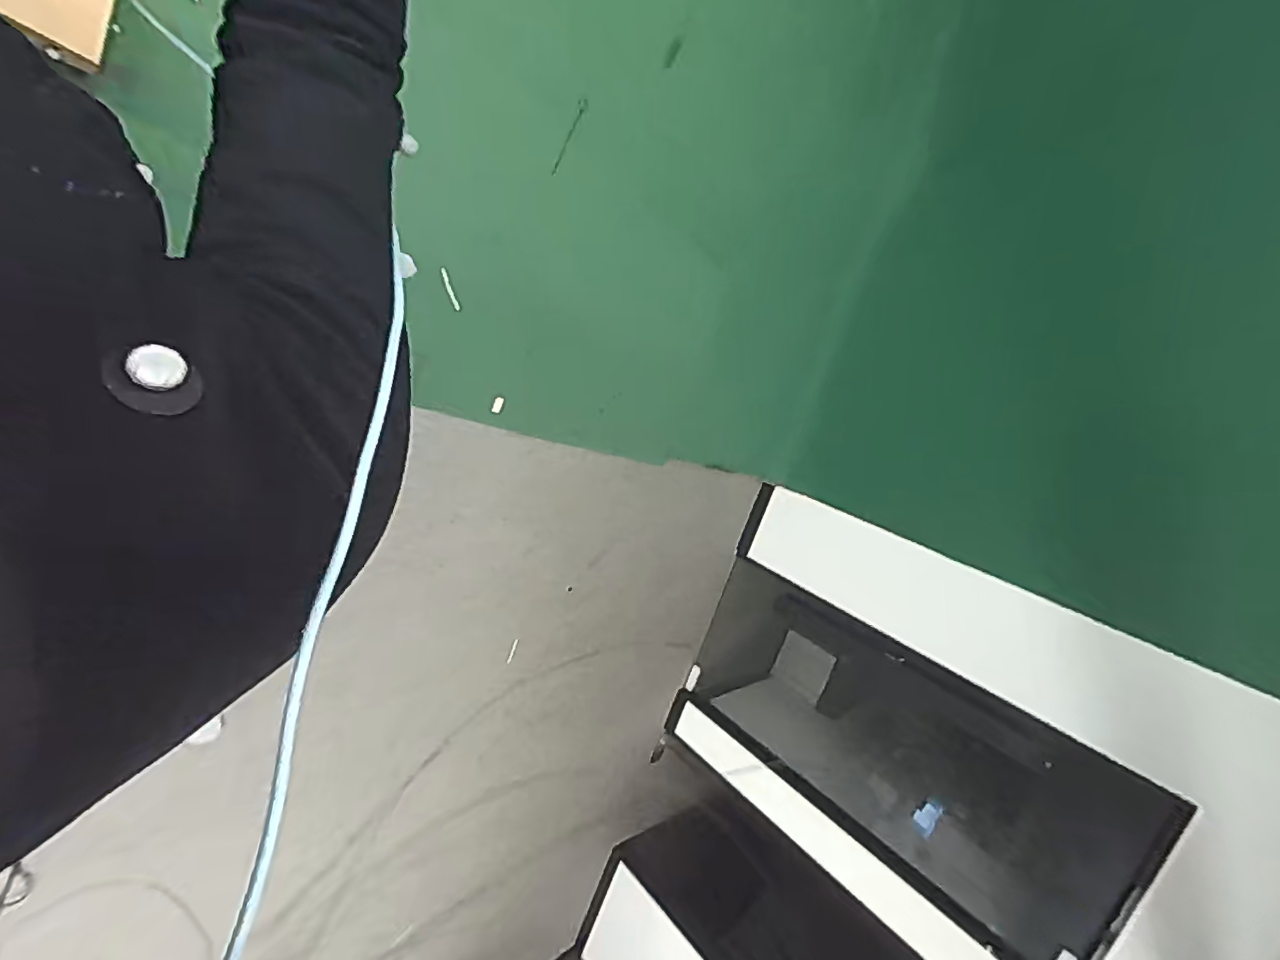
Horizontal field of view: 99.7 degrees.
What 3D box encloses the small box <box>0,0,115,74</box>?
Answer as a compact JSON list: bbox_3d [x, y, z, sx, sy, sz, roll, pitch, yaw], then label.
[{"bbox_3d":[-0.912,-0.742,0.800,0.179,0.176,0.168,13,101,-50],"label":"small box"}]
